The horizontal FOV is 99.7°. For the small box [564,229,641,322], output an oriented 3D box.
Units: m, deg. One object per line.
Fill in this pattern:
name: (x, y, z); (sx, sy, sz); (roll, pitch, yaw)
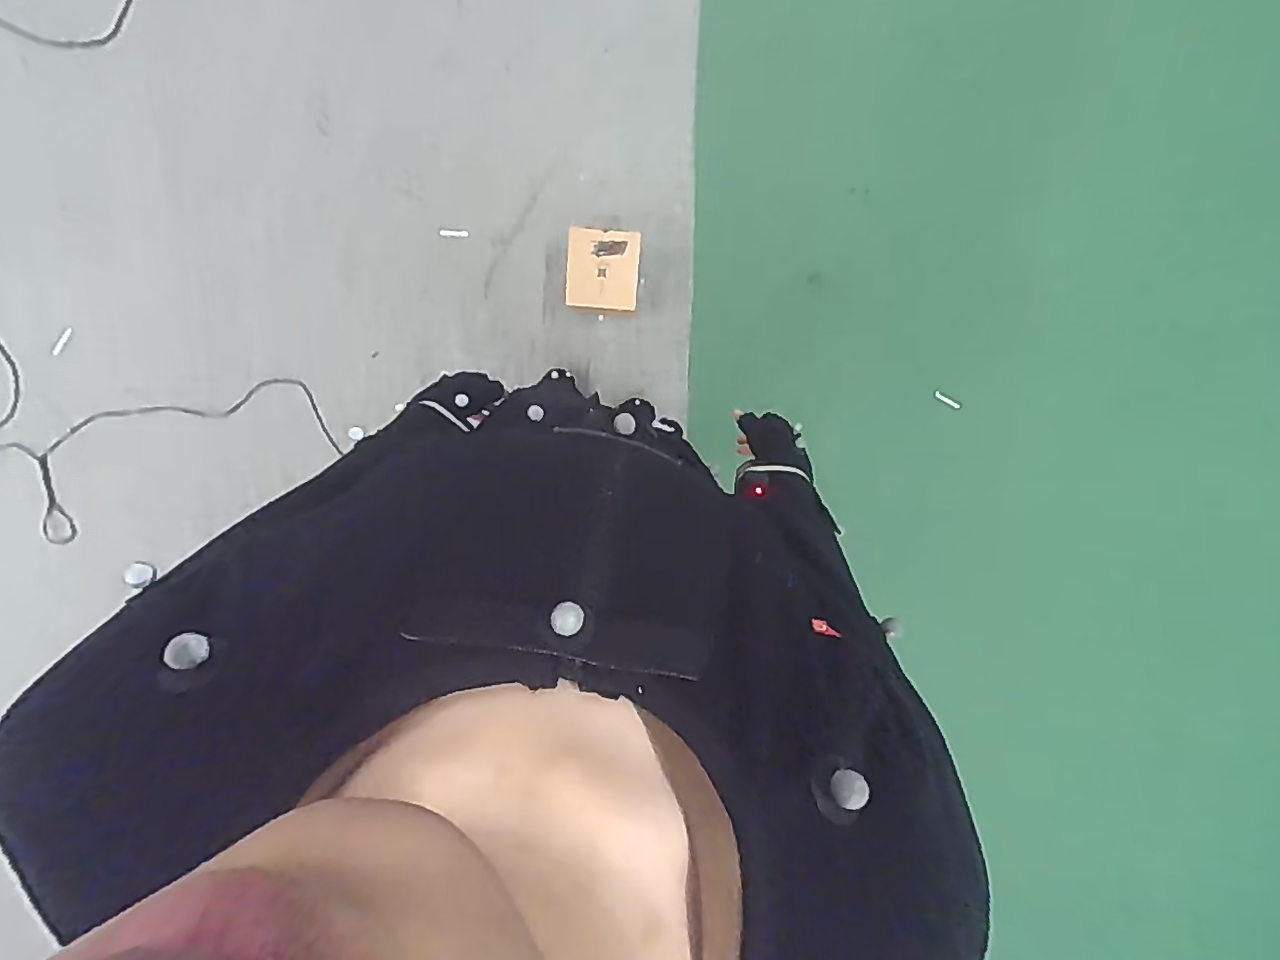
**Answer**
small box: (-0.088, -0.491, 1.316); (0.168, 0.176, 0.179); (4, 100, 0)
